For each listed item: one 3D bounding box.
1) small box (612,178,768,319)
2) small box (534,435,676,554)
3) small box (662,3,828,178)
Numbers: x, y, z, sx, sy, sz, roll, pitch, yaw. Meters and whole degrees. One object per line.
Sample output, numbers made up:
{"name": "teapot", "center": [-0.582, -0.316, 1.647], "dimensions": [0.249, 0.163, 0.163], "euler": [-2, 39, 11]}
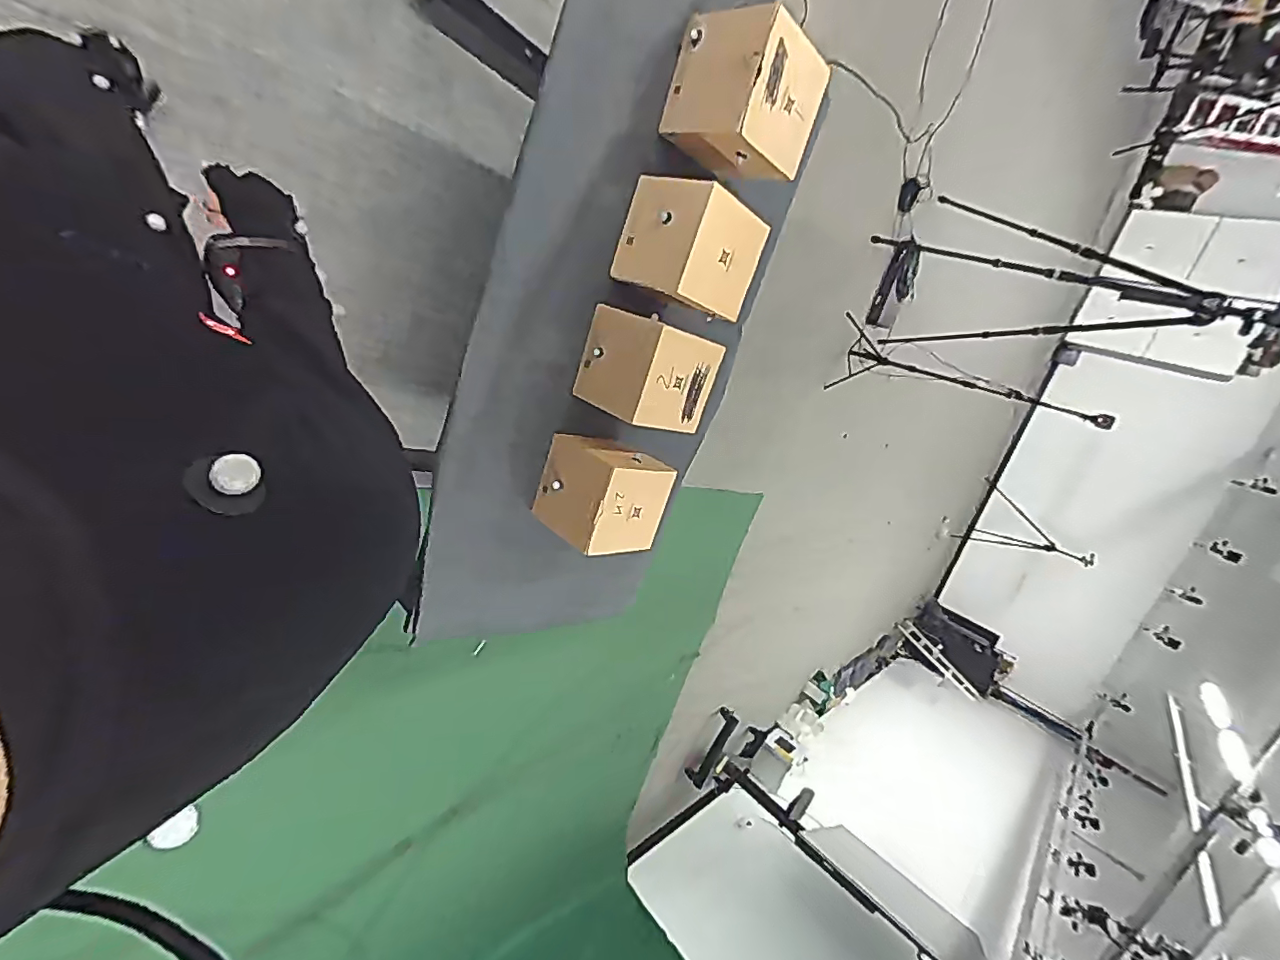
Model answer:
{"name": "small box", "center": [0.080, -0.391, 0.917], "dimensions": [0.179, 0.176, 0.168], "euler": [3, 111, -50]}
{"name": "small box", "center": [-0.068, 0.022, 1.016], "dimensions": [0.179, 0.176, 0.168], "euler": [2, 111, -49]}
{"name": "small box", "center": [0.163, -0.606, 0.865], "dimensions": [0.179, 0.176, 0.168], "euler": [-2, 115, -49]}
